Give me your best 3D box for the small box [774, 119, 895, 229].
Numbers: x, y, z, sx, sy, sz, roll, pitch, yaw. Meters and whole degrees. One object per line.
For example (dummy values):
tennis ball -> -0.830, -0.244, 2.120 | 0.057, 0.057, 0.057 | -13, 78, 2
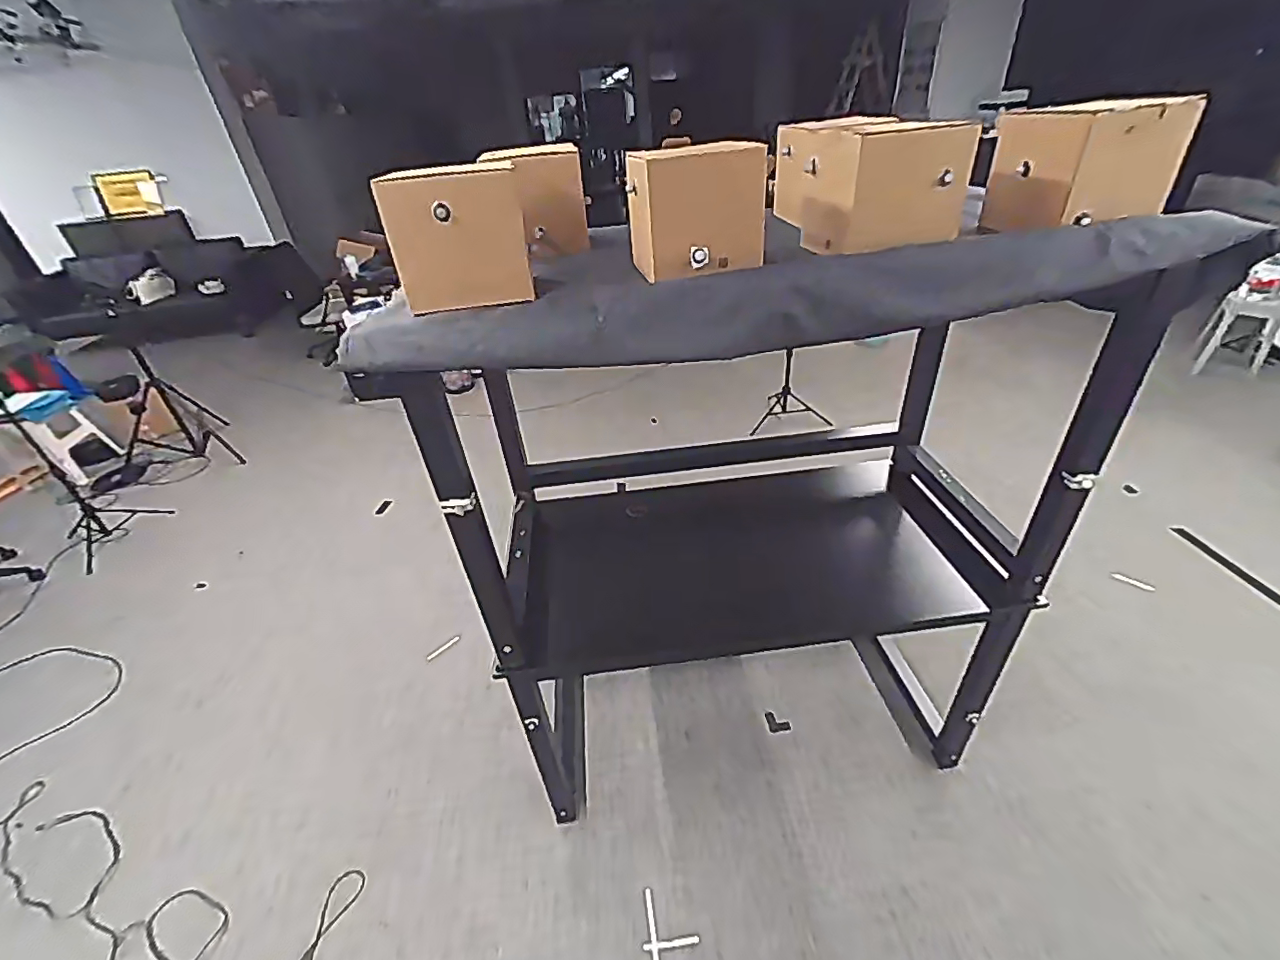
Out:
small box -> 0.372, -0.602, 1.069 | 0.168, 0.176, 0.179 | -8, 35, -3

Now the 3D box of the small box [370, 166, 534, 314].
small box -> -0.257, -0.348, 0.782 | 0.179, 0.176, 0.168 | -9, 34, -7

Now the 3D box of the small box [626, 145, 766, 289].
small box -> 0.077, -0.395, 0.809 | 0.168, 0.176, 0.179 | -10, 34, -6

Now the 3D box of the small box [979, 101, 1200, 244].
small box -> 0.669, -0.470, 0.833 | 0.168, 0.176, 0.179 | -9, 34, -4

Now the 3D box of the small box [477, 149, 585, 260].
small box -> -0.199, -0.524, 1.033 | 0.179, 0.176, 0.168 | -8, 35, -5
